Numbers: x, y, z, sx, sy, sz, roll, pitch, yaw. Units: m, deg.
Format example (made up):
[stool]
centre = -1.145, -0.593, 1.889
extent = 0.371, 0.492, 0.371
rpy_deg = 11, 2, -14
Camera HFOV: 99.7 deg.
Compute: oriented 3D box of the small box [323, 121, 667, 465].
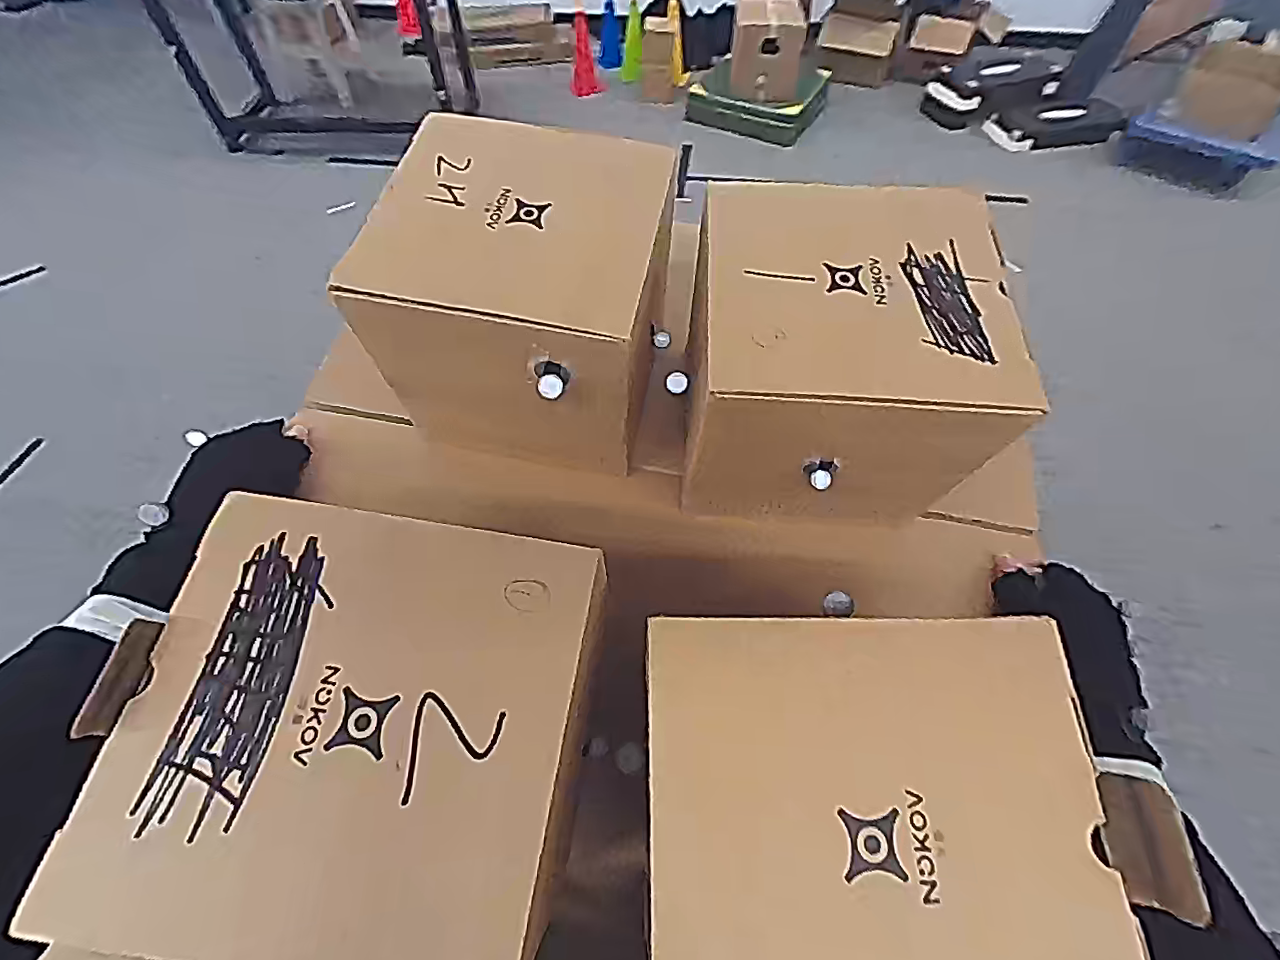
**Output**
[small box]
centre = -0.084, -0.127, 0.410
extent = 0.179, 0.176, 0.168
rpy_deg = 11, 64, 4
